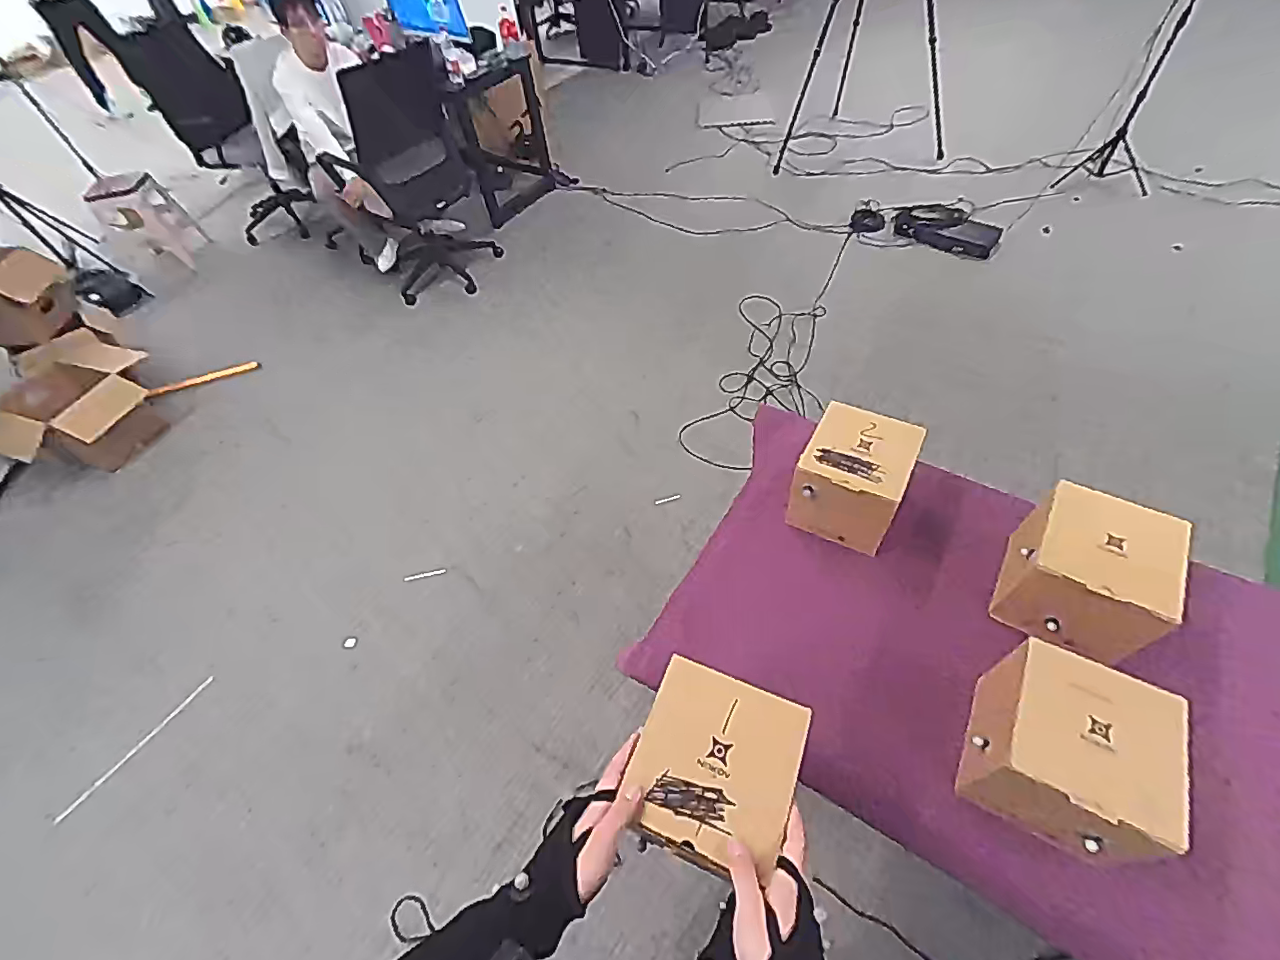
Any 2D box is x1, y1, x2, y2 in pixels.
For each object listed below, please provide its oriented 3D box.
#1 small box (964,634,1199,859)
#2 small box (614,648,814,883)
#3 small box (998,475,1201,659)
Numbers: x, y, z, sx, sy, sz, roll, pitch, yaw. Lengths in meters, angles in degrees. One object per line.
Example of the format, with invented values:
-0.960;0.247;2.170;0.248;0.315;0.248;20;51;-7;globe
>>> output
0.528;0.331;0.666;0.168;0.176;0.179;23;57;22;small box
0.087;0.331;0.627;0.168;0.176;0.179;18;56;16;small box
0.668;0.130;0.802;0.168;0.176;0.179;25;61;24;small box
